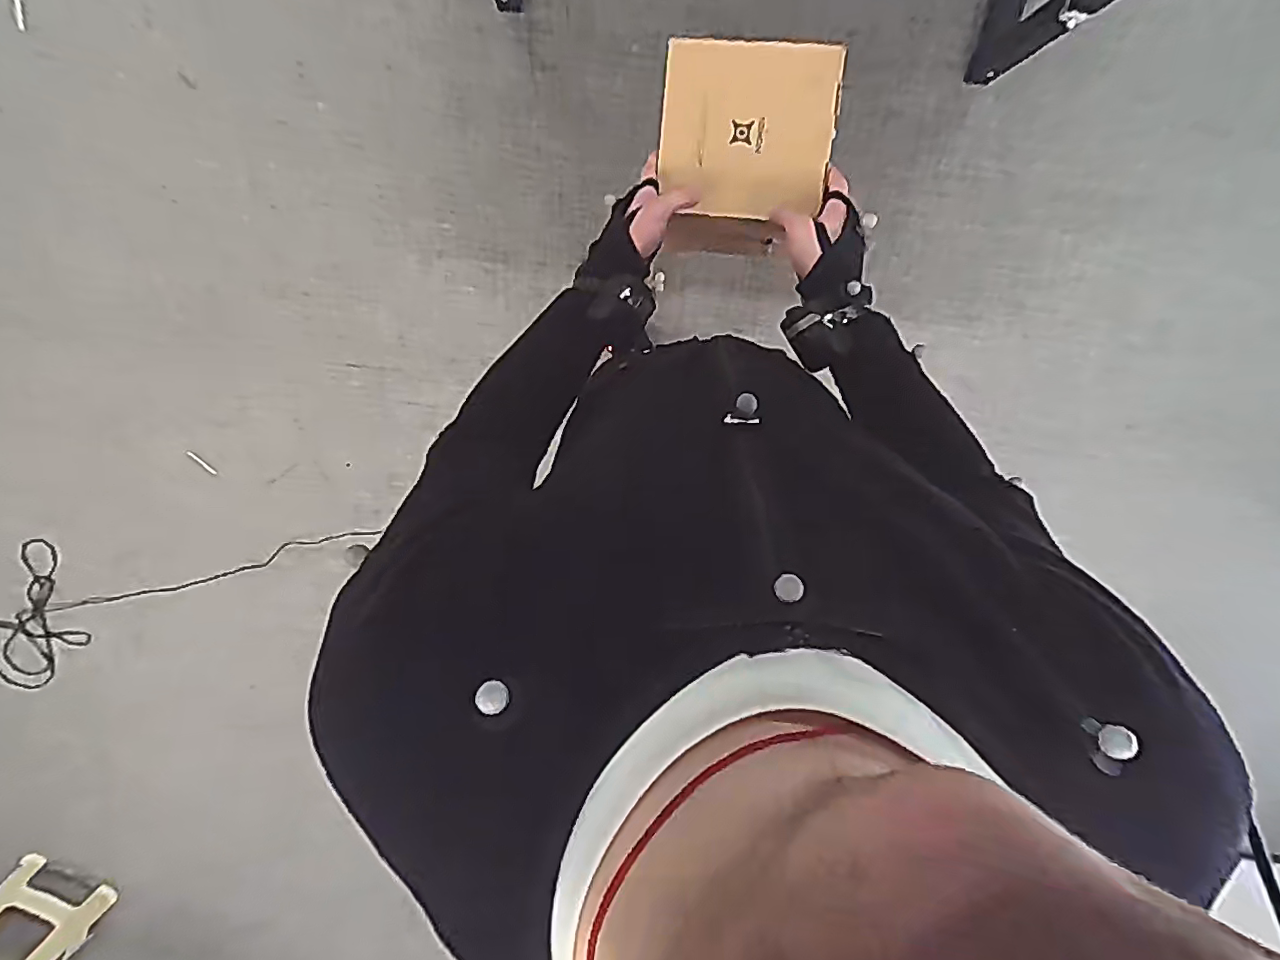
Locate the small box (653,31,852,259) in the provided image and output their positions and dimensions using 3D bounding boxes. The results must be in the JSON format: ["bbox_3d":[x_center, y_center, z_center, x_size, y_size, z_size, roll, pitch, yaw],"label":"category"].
[{"bbox_3d":[0.117,-0.363,0.618,0.179,0.176,0.168,8,99,5],"label":"small box"}]
